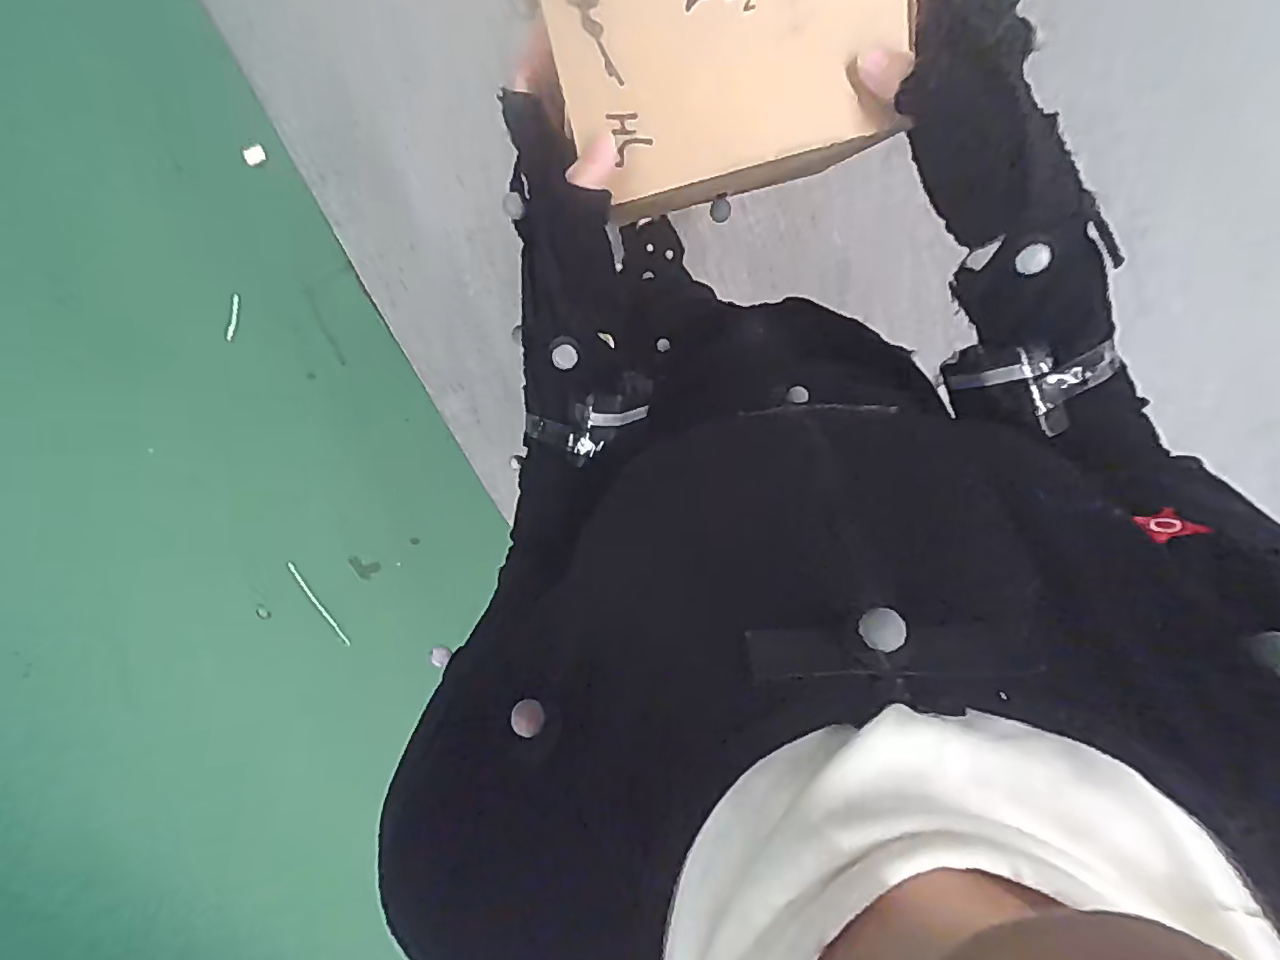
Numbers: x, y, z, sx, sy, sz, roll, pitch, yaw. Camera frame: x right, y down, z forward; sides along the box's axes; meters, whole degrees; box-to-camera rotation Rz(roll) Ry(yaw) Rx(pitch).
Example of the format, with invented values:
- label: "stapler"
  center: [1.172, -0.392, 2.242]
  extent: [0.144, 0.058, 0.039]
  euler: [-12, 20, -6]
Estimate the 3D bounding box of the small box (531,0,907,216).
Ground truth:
- label: "small box"
  center: [0.032, -0.275, 0.329]
  extent: [0.179, 0.176, 0.168]
  euler: [-15, 112, 6]
